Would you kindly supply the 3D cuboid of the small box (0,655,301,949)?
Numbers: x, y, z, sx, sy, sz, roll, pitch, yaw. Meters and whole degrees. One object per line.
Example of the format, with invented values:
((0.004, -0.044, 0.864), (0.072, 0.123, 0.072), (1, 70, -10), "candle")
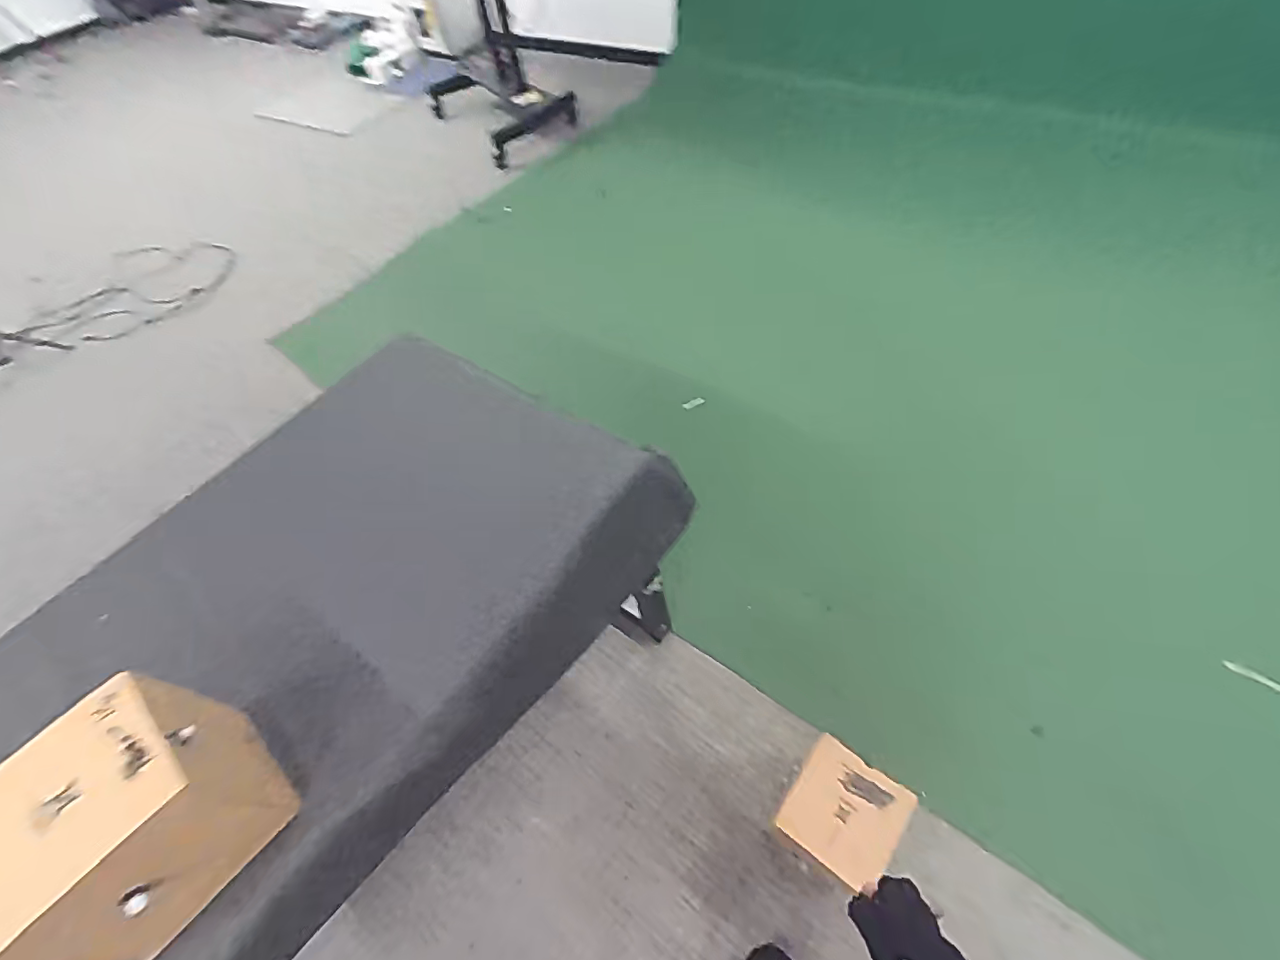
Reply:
((-0.496, 0.318, 0.543), (0.168, 0.176, 0.179), (32, 65, 28), "small box")

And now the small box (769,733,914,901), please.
((0.338, 0.582, 0.940), (0.168, 0.176, 0.179), (31, 65, 27), "small box")
